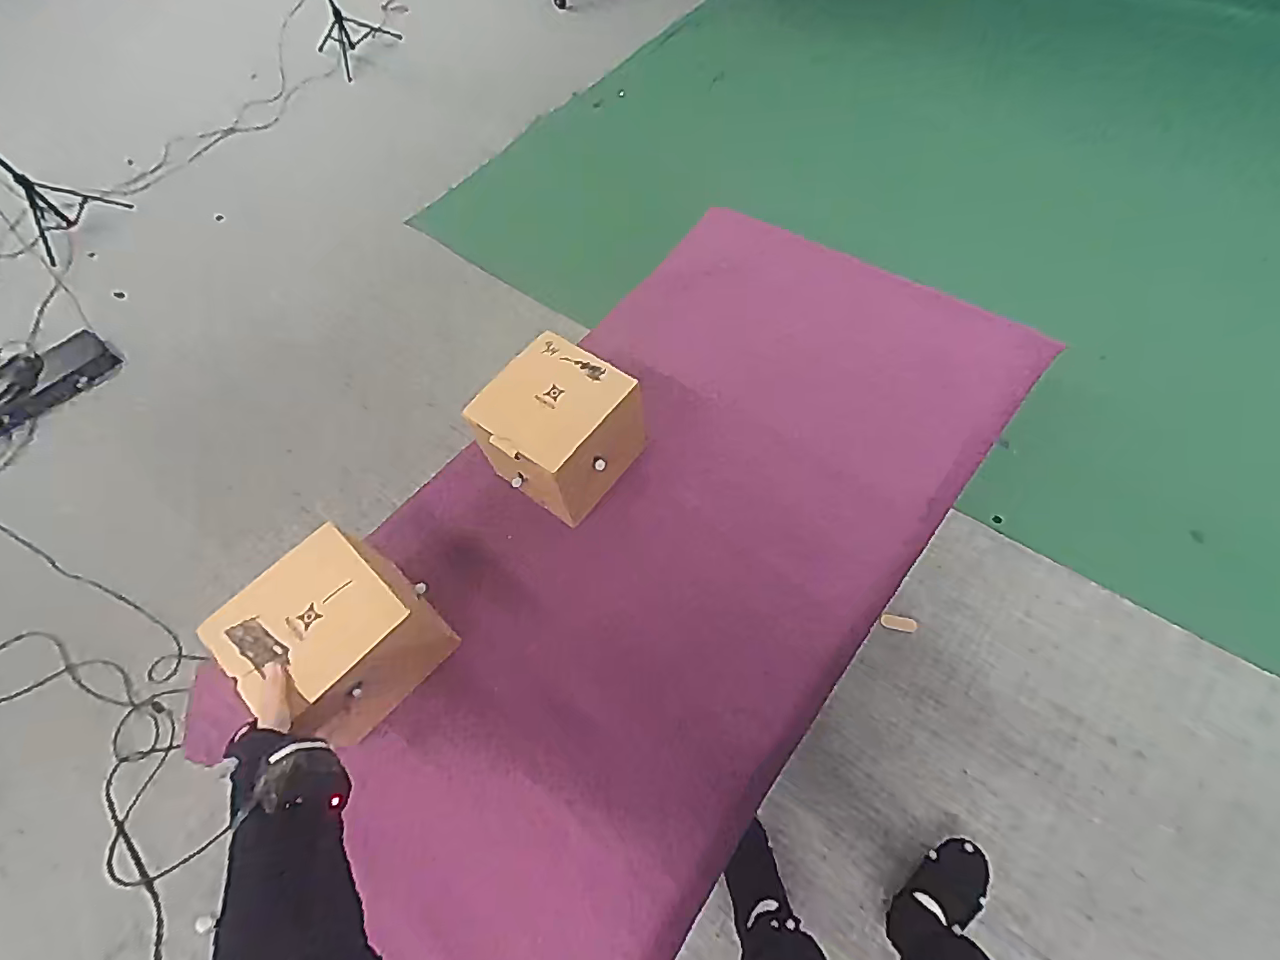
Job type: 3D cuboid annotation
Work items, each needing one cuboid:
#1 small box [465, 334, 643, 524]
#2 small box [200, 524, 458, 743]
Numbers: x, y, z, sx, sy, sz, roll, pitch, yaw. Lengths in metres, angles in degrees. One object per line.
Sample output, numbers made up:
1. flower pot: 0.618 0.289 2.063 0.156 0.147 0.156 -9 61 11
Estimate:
1. small box: -0.107 -0.065 0.772 0.168 0.176 0.179 33 70 19
2. small box: -0.354 0.192 0.650 0.168 0.176 0.179 38 71 20
